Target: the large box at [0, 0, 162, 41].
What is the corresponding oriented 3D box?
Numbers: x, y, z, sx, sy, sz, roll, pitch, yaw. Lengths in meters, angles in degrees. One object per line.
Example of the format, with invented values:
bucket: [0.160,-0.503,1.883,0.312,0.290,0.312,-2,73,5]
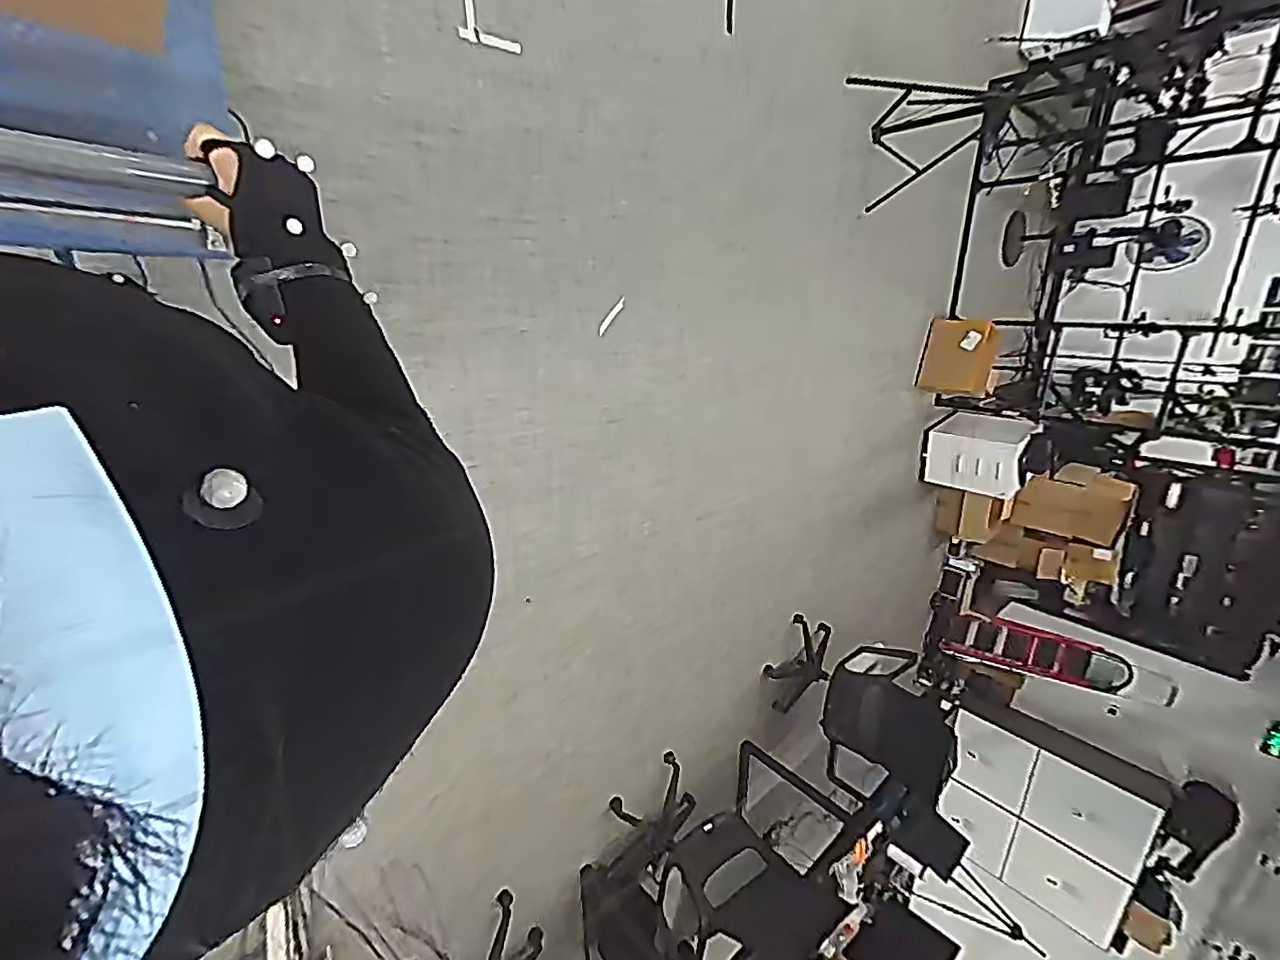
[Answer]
large box: [-0.853,-0.802,0.630,0.408,0.320,0.320,-11,110,-40]
